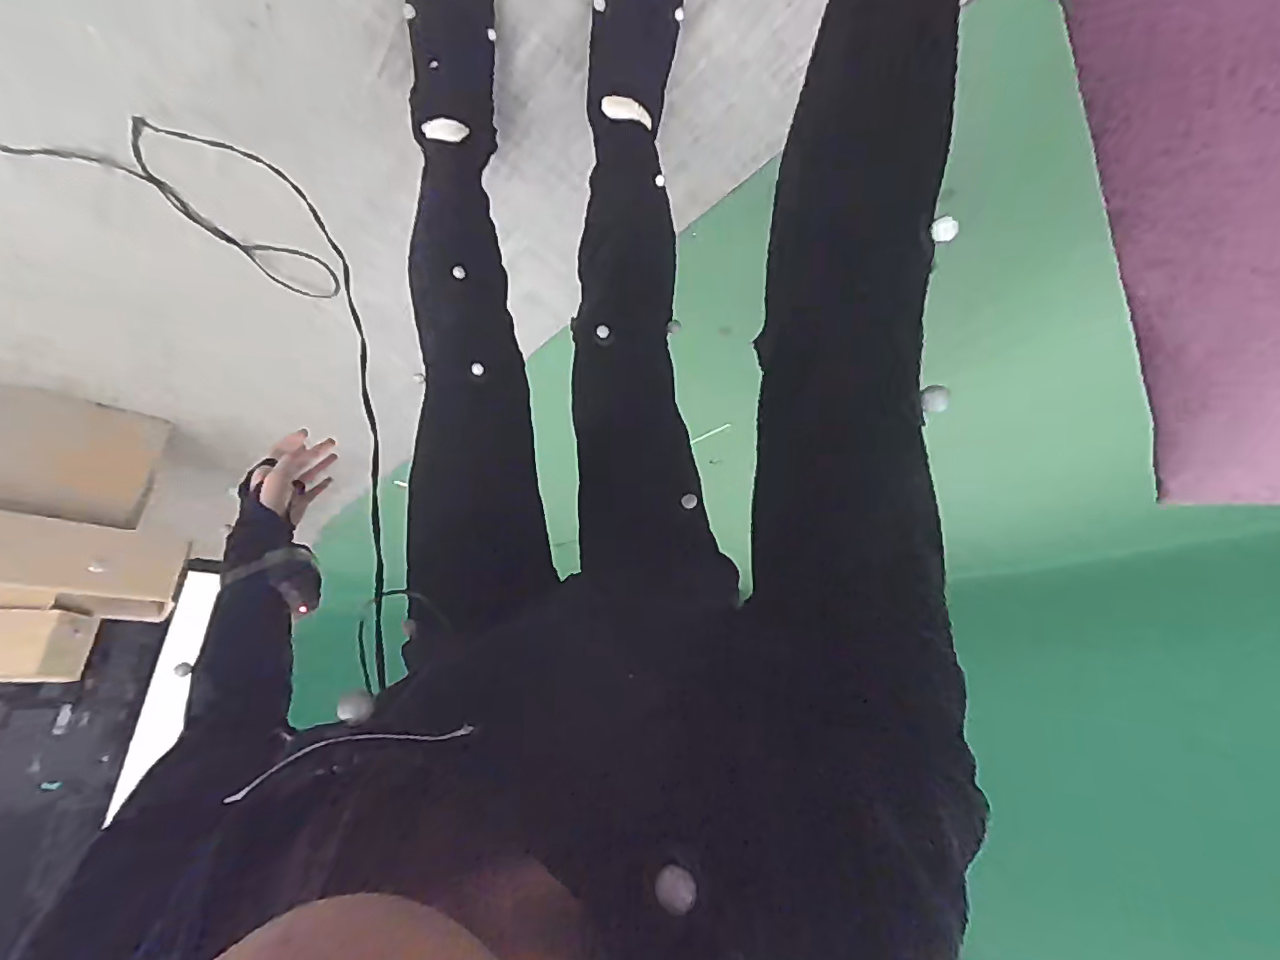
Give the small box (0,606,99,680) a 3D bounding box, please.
[{"bbox_3d":[-1.601,0.429,1.421,0.179,0.176,0.168,4,157,-13],"label":"small box"}]
